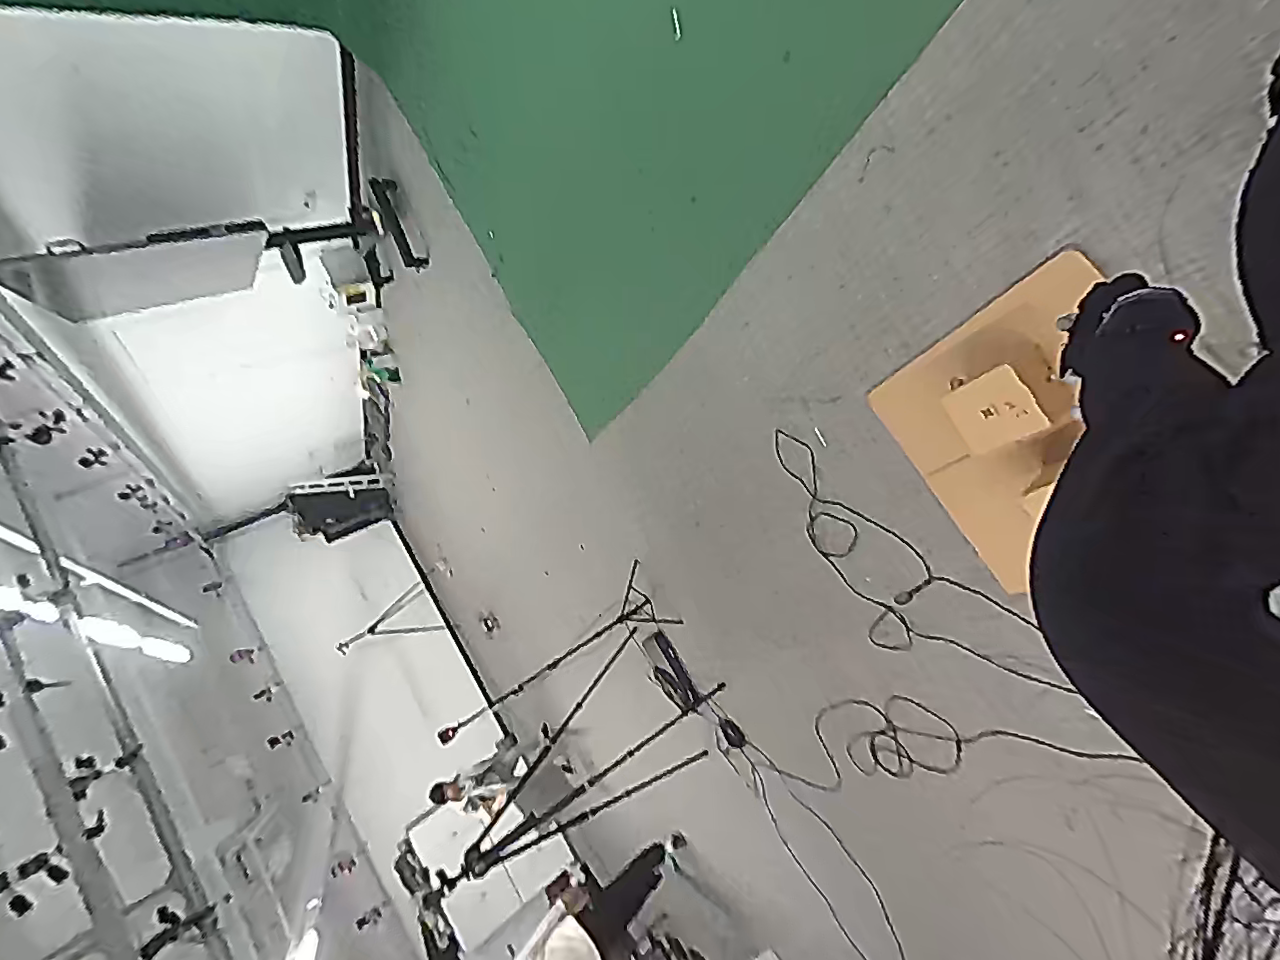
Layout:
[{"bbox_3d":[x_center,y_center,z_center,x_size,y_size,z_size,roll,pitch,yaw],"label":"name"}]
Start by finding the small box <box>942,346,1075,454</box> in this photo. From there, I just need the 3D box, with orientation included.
[{"bbox_3d":[0.865,-0.187,1.269,0.168,0.176,0.179,59,147,5],"label":"small box"}]

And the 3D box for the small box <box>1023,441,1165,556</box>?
[{"bbox_3d":[1.018,0.039,1.209,0.168,0.176,0.179,56,148,11],"label":"small box"}]
